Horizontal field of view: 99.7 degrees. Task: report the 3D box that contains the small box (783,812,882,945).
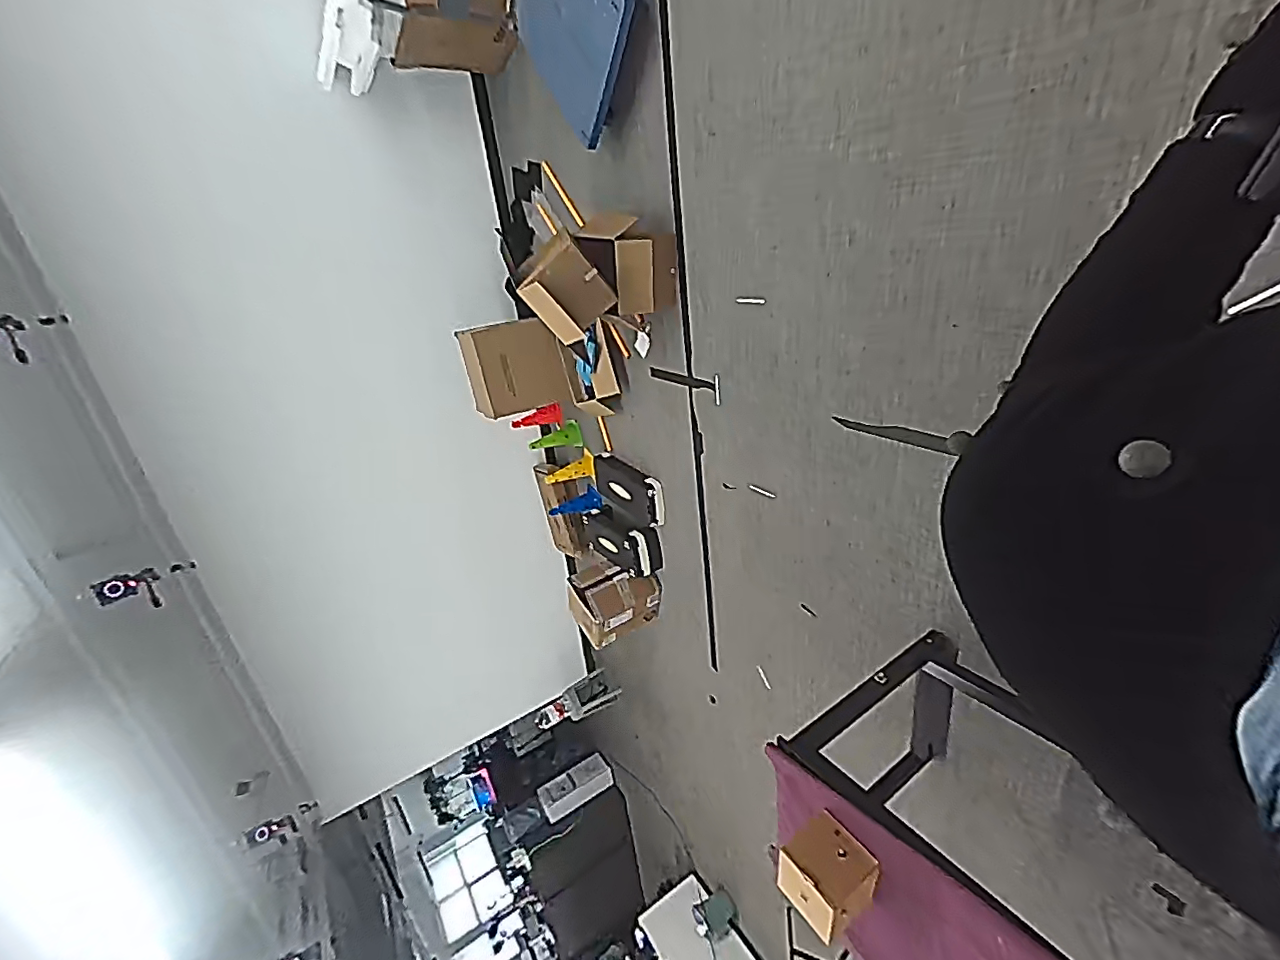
[{"bbox_3d":[0.476,0.981,1.342,0.168,0.176,0.179,32,136,50],"label":"small box"}]
